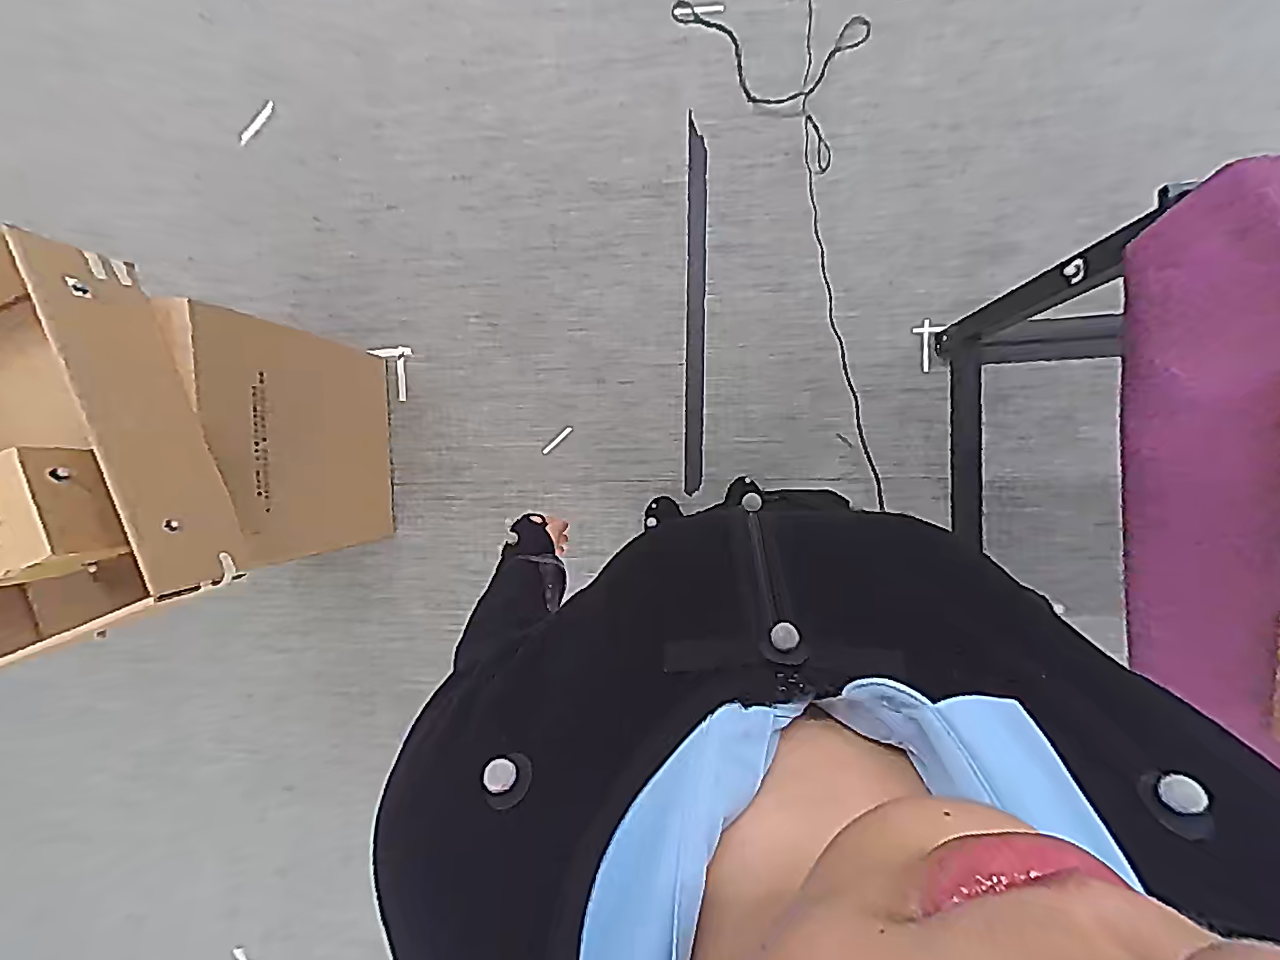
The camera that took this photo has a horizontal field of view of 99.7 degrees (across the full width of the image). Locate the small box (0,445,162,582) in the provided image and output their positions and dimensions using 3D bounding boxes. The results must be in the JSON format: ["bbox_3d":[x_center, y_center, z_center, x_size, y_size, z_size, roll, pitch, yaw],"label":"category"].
[{"bbox_3d":[-0.944,0.054,0.876,0.168,0.176,0.179,-20,90,6],"label":"small box"}]
